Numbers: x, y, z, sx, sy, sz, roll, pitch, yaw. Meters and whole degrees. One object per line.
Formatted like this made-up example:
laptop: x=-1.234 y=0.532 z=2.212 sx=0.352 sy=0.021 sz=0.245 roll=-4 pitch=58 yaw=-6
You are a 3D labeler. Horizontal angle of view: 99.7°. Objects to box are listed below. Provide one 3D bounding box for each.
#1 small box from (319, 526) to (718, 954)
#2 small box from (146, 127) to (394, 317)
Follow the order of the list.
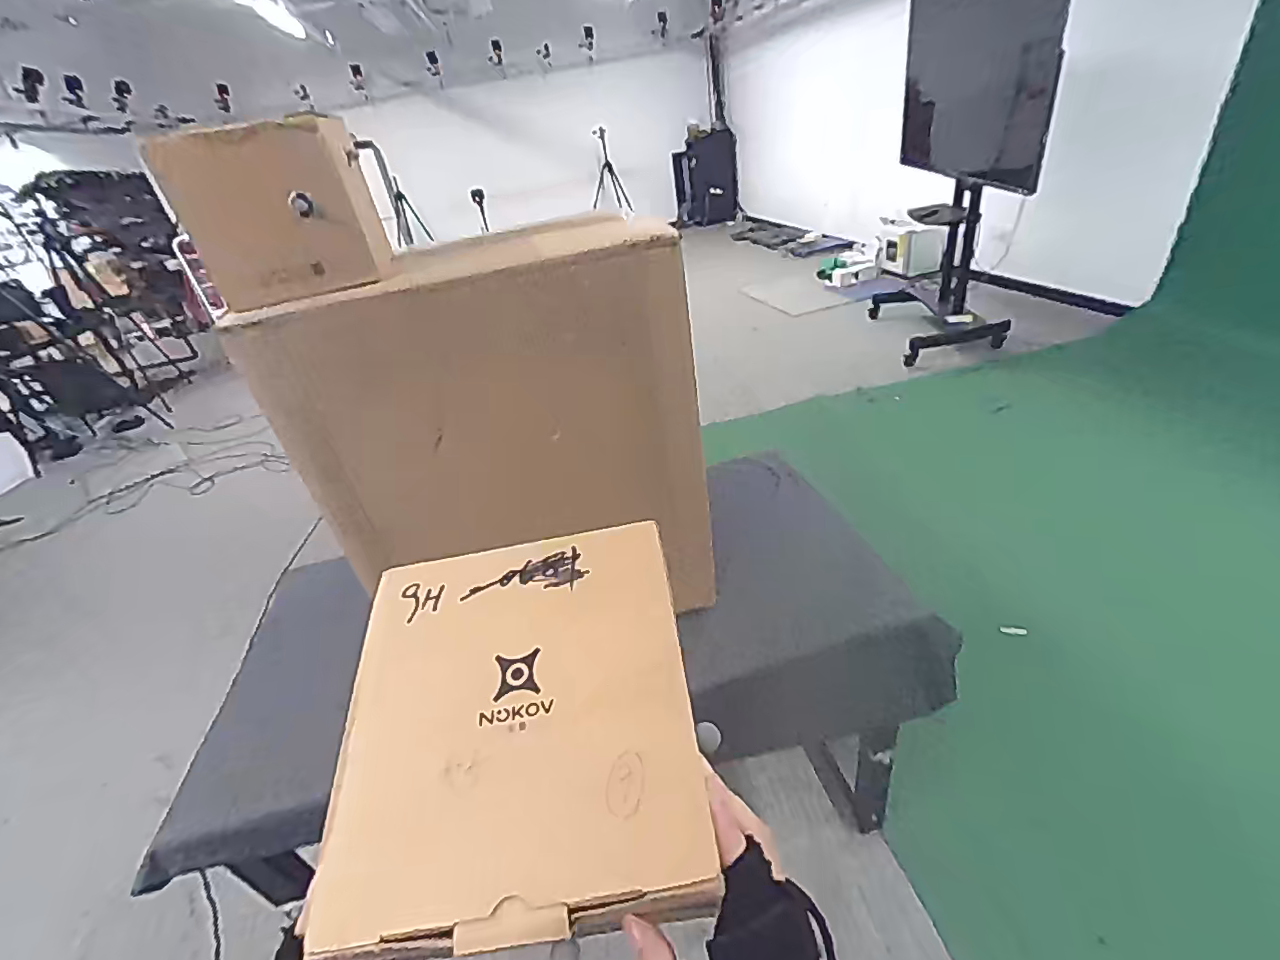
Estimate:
small box: x=-0.050 y=0.156 z=0.328 sx=0.168 sy=0.176 sz=0.179 roll=-10 pitch=50 yaw=1
small box: x=-0.409 y=-0.304 z=0.642 sx=0.168 sy=0.176 sz=0.179 roll=-16 pitch=33 yaw=-10
